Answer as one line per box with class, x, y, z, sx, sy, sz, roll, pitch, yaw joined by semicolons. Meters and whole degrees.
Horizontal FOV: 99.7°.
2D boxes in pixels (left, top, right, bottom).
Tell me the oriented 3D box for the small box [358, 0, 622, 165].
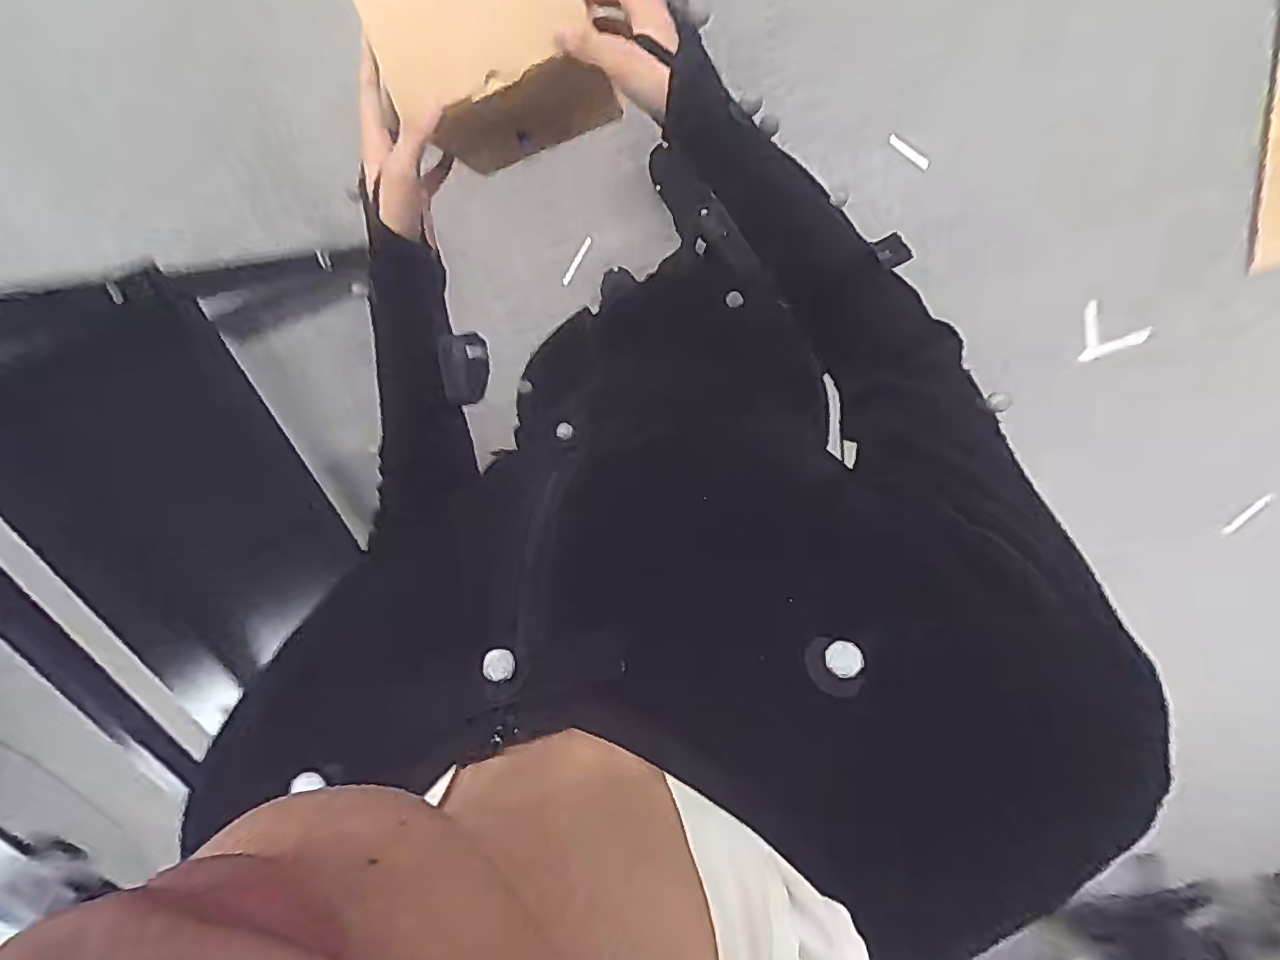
small box;-0.124;-0.402;0.456;0.168;0.176;0.179;-16;106;11
